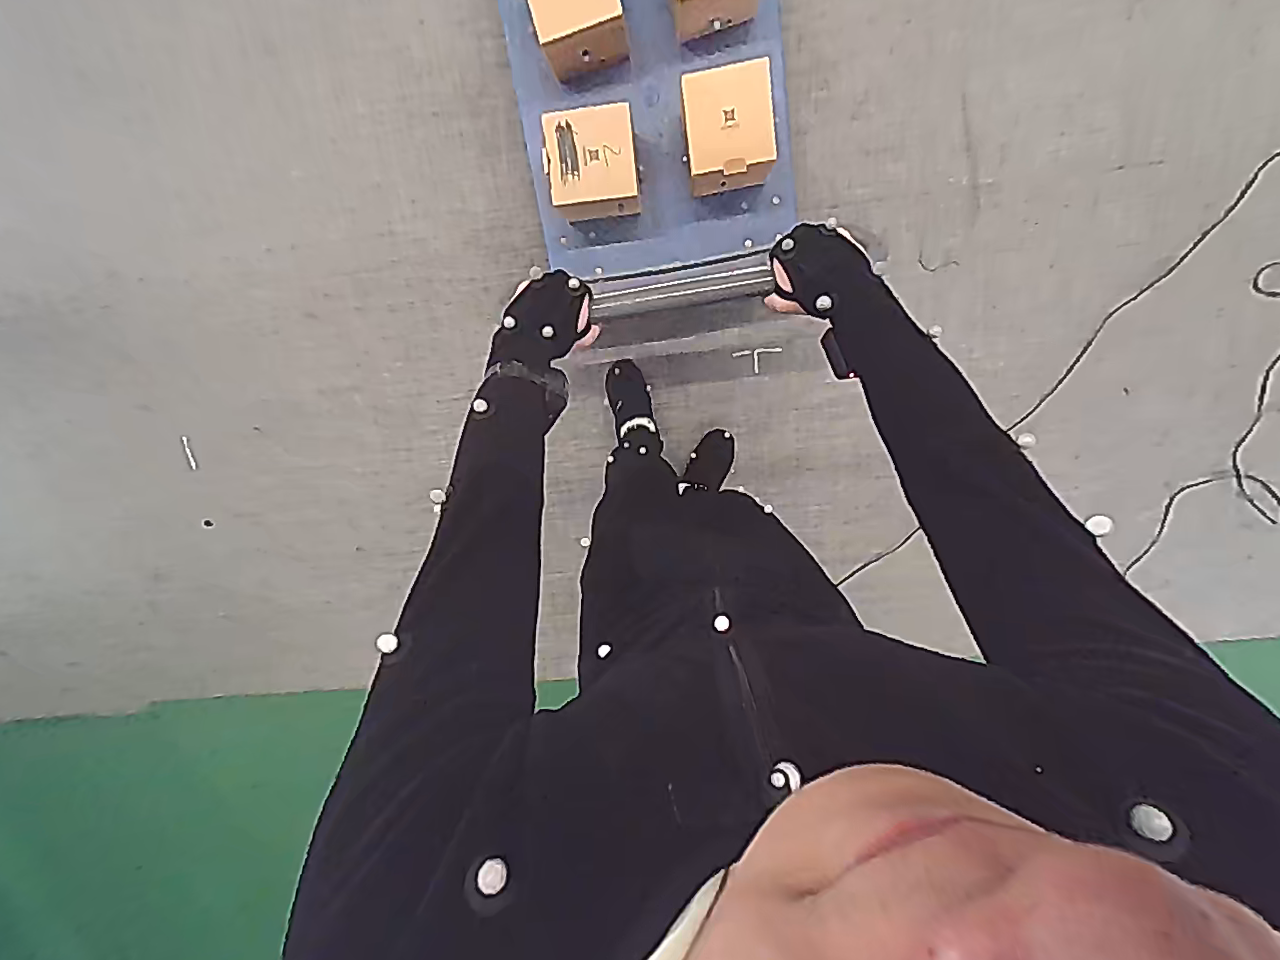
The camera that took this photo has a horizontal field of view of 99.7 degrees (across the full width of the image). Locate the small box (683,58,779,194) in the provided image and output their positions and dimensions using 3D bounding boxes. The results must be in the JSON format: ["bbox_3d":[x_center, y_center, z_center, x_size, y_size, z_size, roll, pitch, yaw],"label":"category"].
[{"bbox_3d":[0.180,-0.710,1.104,0.168,0.176,0.179,-8,106,6],"label":"small box"}]

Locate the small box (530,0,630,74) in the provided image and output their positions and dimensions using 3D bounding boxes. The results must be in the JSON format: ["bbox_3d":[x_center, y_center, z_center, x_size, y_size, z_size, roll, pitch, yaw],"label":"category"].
[{"bbox_3d":[-0.123,-0.938,1.060,0.168,0.176,0.179,-14,104,7],"label":"small box"}]

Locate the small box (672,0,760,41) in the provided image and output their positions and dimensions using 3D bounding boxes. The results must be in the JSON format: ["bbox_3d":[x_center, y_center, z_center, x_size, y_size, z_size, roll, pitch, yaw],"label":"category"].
[{"bbox_3d":[0.136,-0.993,1.026,0.168,0.176,0.179,-13,105,8],"label":"small box"}]
